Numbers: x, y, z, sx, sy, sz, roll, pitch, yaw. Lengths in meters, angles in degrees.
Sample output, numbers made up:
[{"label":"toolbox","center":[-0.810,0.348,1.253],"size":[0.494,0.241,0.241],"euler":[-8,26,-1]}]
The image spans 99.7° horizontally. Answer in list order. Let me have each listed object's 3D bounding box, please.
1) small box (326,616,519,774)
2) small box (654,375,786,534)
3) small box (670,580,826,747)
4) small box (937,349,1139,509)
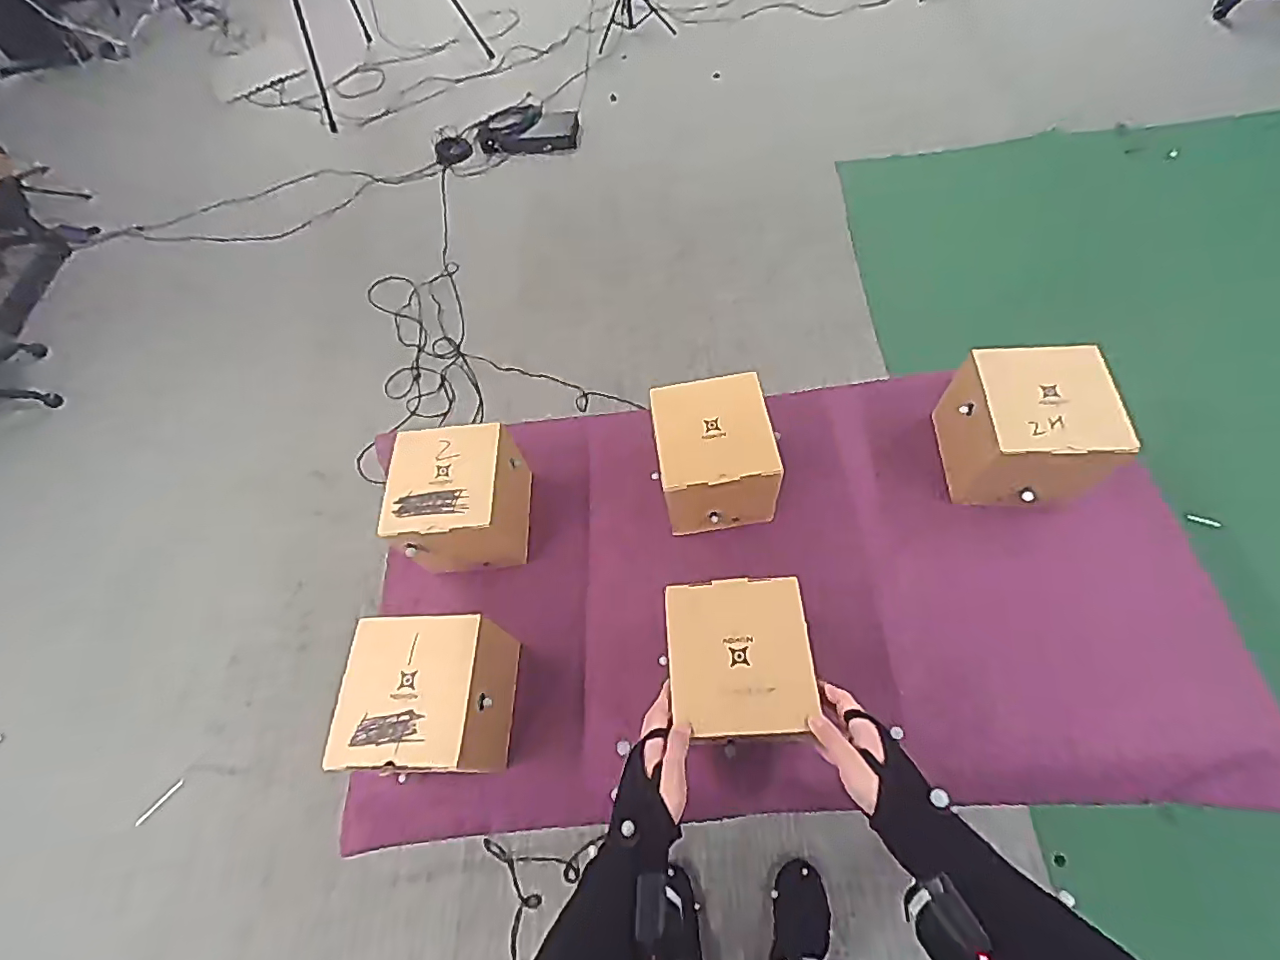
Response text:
[{"label":"small box","center":[-0.269,0.289,0.718],"size":[0.168,0.176,0.179],"euler":[-3,61,6]},{"label":"small box","center":[0.116,-0.035,0.843],"size":[0.168,0.176,0.179],"euler":[-9,63,2]},{"label":"small box","center":[0.128,0.241,0.696],"size":[0.168,0.176,0.179],"euler":[-5,61,6]},{"label":"small box","center":[0.565,-0.072,0.801],"size":[0.168,0.176,0.179],"euler":[0,63,8]}]
